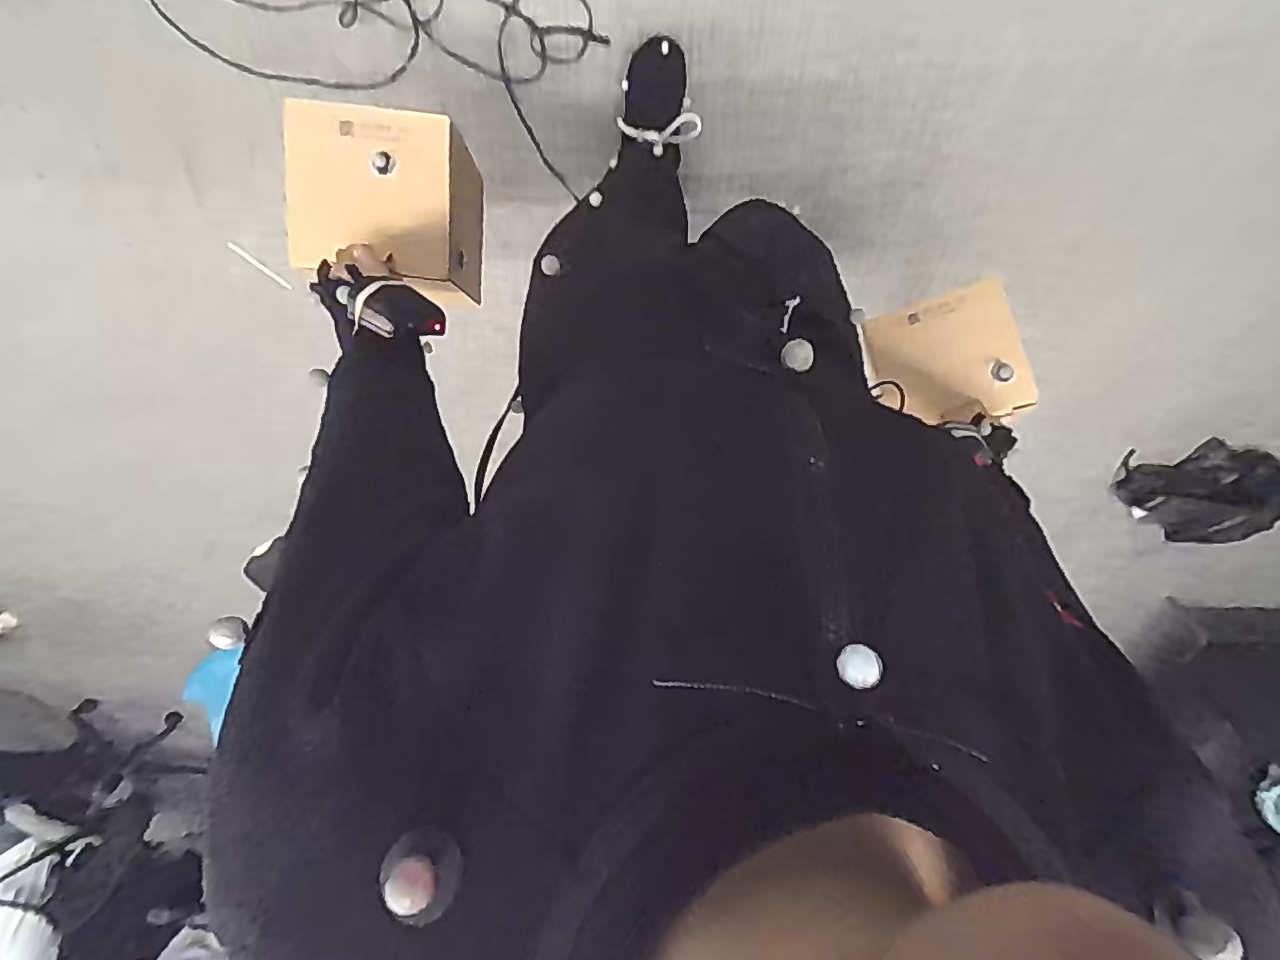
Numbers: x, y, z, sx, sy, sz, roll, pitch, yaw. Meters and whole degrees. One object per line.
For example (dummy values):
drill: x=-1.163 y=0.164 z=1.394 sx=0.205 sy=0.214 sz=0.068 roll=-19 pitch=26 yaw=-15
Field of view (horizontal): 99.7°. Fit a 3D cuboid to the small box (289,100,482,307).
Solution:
small box: x=-0.288 y=-0.312 z=0.645 sx=0.168 sy=0.179 sz=0.176 roll=4 pitch=100 yaw=-6
